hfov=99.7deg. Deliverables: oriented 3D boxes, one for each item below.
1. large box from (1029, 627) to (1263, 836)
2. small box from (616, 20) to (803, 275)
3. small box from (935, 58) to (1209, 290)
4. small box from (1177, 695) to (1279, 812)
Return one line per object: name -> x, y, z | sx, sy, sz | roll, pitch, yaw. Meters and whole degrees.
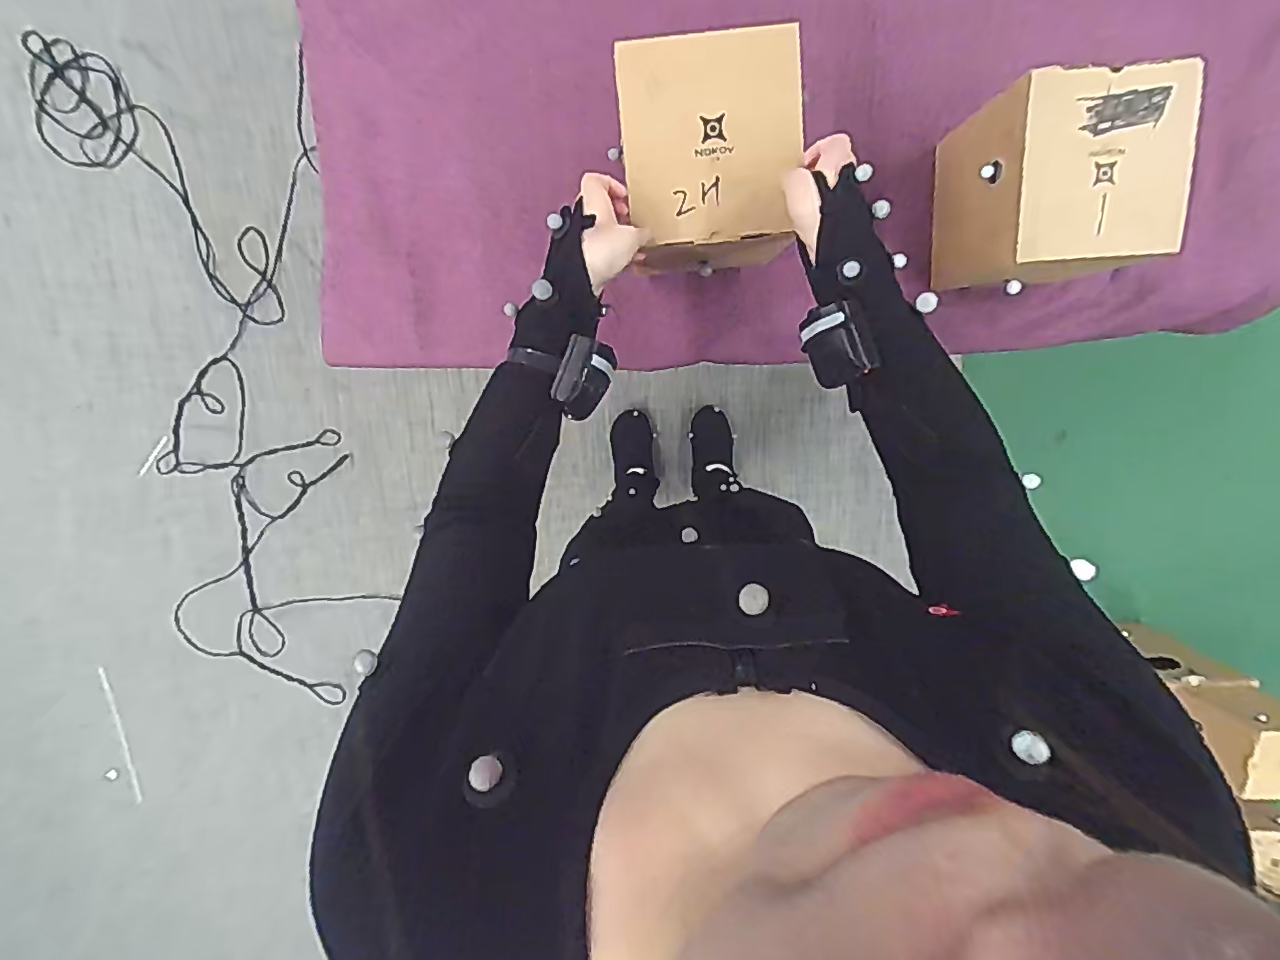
large box -> 1.303, 0.647, 1.436 | 0.320, 0.320, 0.408 | -1, 101, 2
small box -> 0.065, -0.325, 0.565 | 0.168, 0.176, 0.179 | -4, 102, 2
small box -> 0.449, -0.317, 0.594 | 0.168, 0.176, 0.179 | -3, 101, 2
small box -> 1.348, 0.586, 1.177 | 0.179, 0.176, 0.168 | -1, 101, 1
